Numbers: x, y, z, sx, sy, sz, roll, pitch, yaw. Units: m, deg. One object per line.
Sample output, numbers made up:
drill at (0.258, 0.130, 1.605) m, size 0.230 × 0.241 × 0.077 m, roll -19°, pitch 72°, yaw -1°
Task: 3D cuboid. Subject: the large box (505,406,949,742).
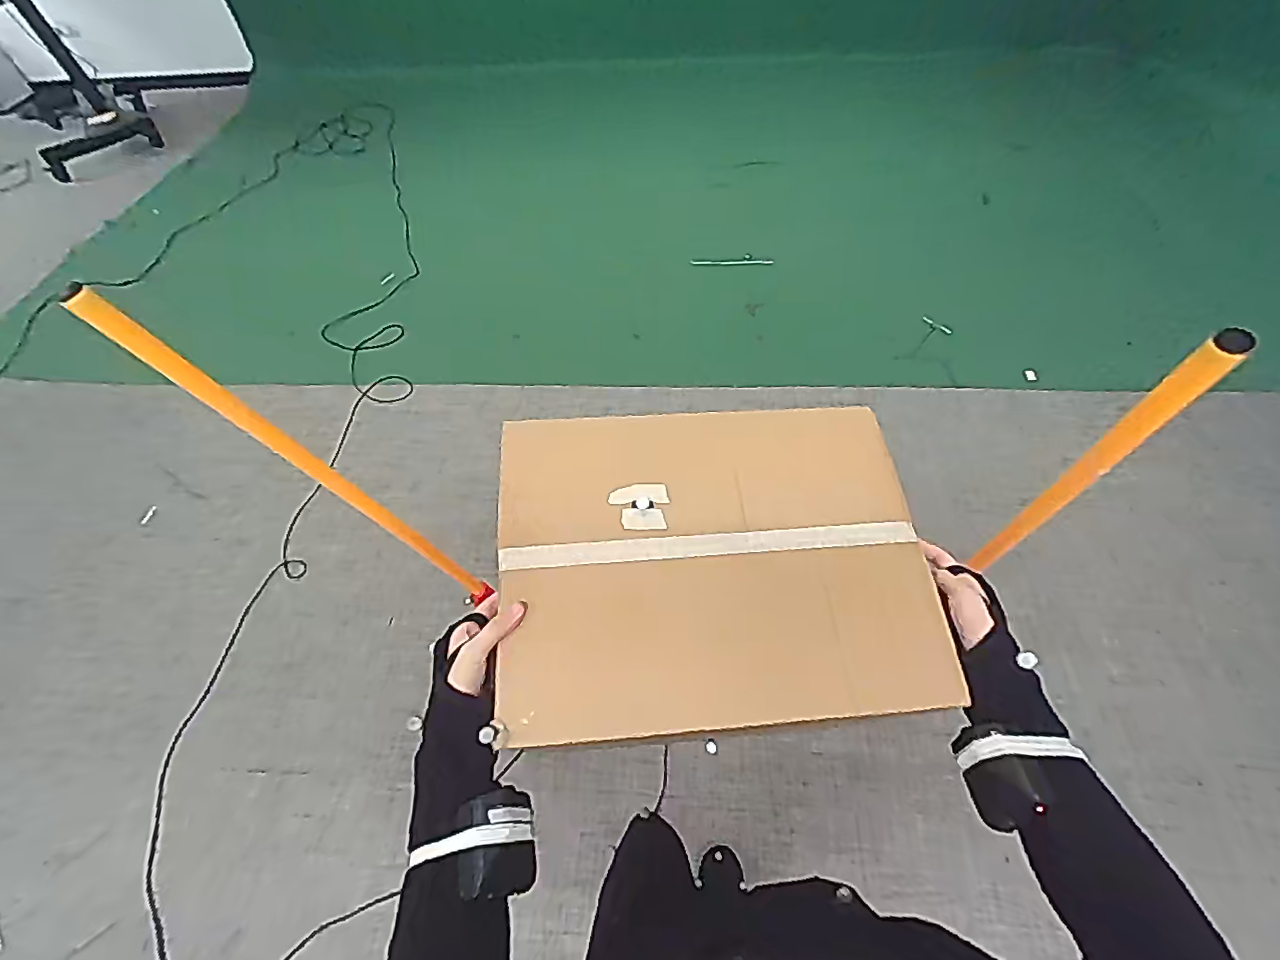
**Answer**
large box at (0.065, 0.133, 0.669) m, size 0.408 × 0.320 × 0.320 m, roll -4°, pitch 62°, yaw -4°
